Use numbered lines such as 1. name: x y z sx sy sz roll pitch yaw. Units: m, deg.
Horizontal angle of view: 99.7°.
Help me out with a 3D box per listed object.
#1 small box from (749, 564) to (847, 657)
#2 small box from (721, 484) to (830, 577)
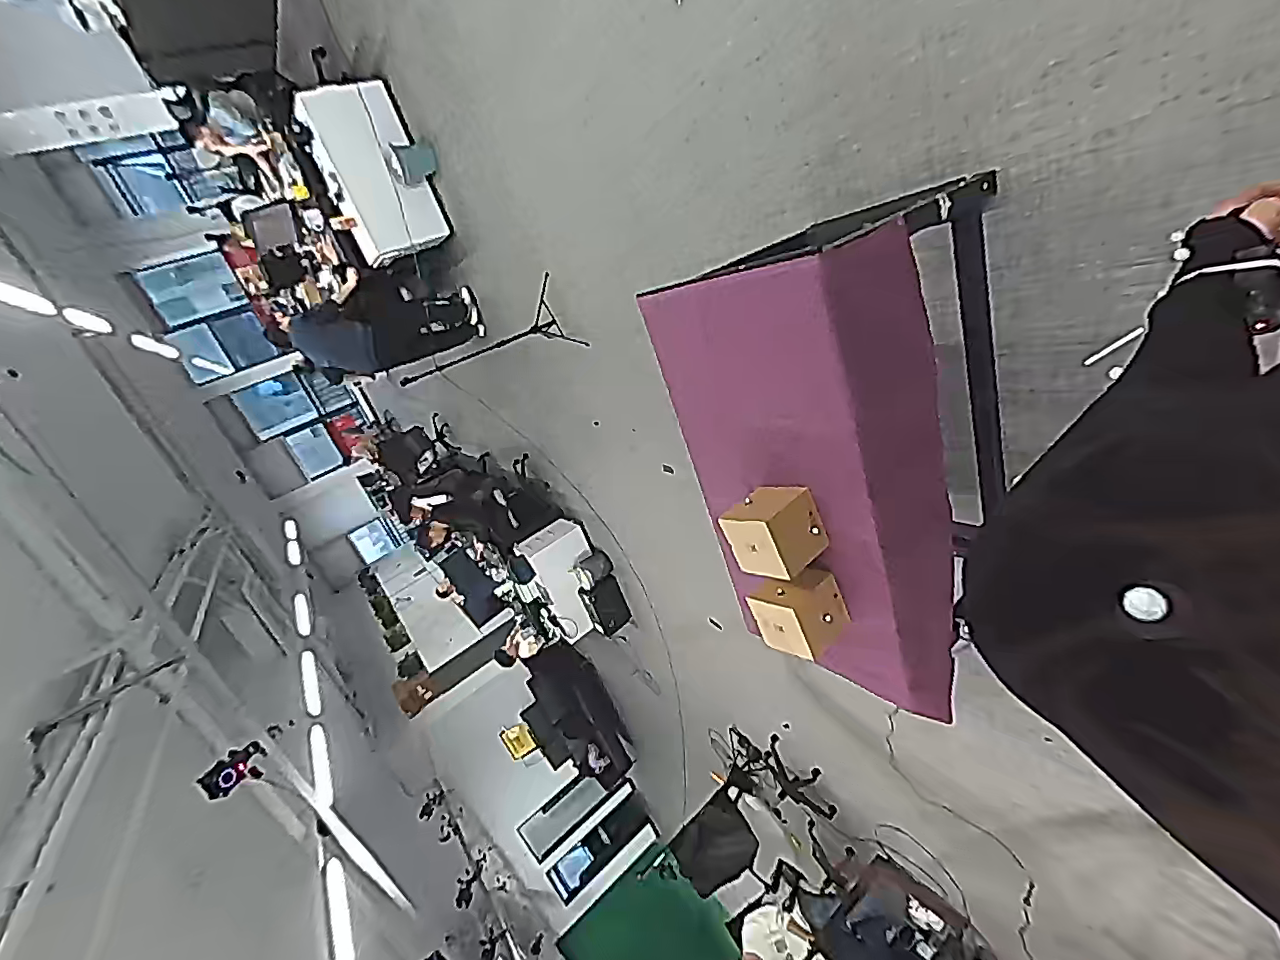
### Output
1. small box: 0.433 0.341 1.462 0.179 0.176 0.168 1 120 60
2. small box: 0.344 0.121 1.375 0.179 0.176 0.168 0 119 60
